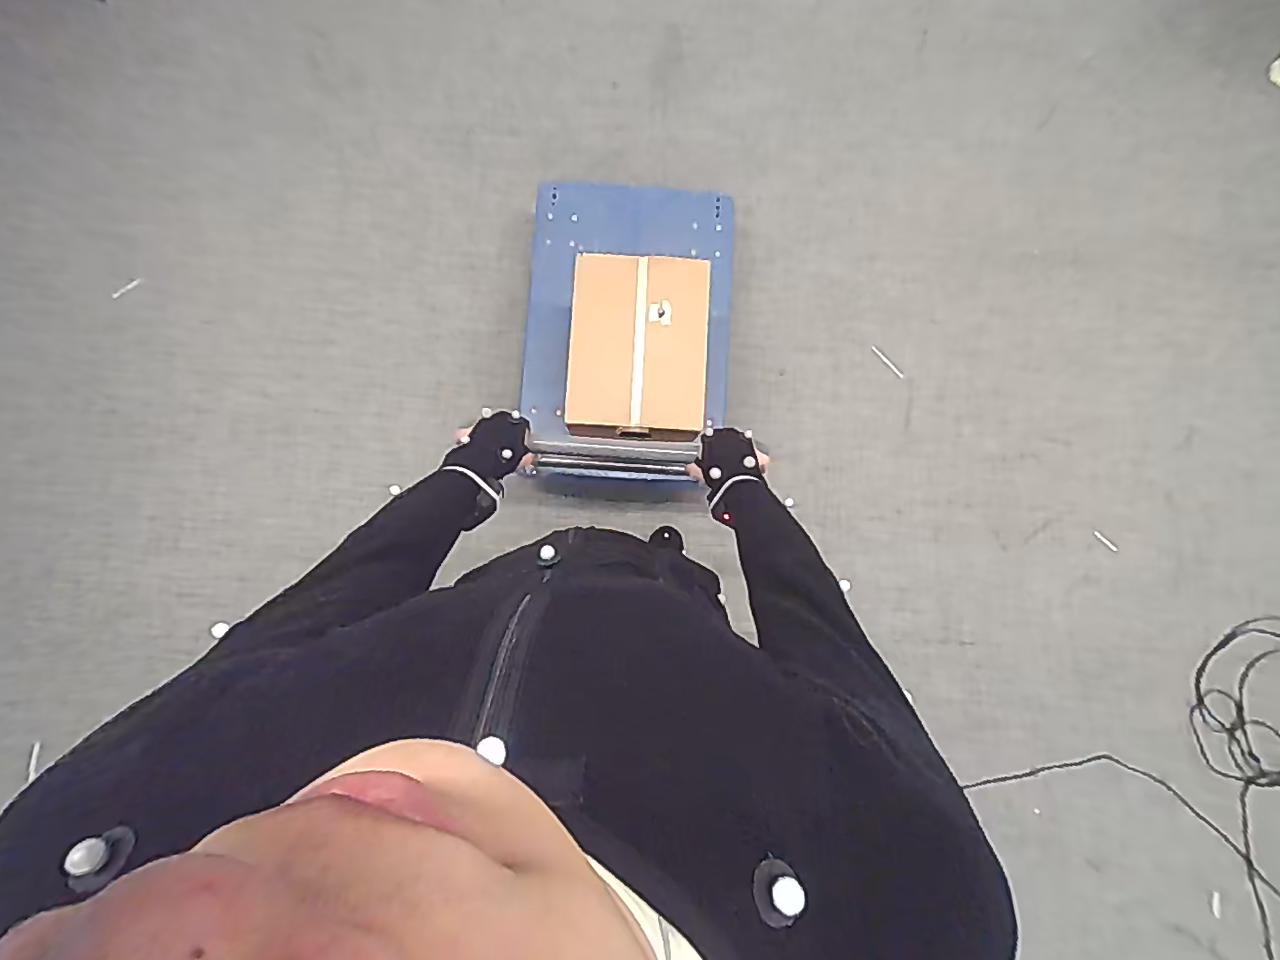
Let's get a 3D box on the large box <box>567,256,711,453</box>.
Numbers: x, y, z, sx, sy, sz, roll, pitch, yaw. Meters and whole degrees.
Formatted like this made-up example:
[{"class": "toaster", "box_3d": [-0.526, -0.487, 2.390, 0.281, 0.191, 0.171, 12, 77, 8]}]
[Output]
[{"class": "large box", "box_3d": [-0.001, -0.291, 1.360, 0.320, 0.320, 0.408, 3, 83, -2]}]
